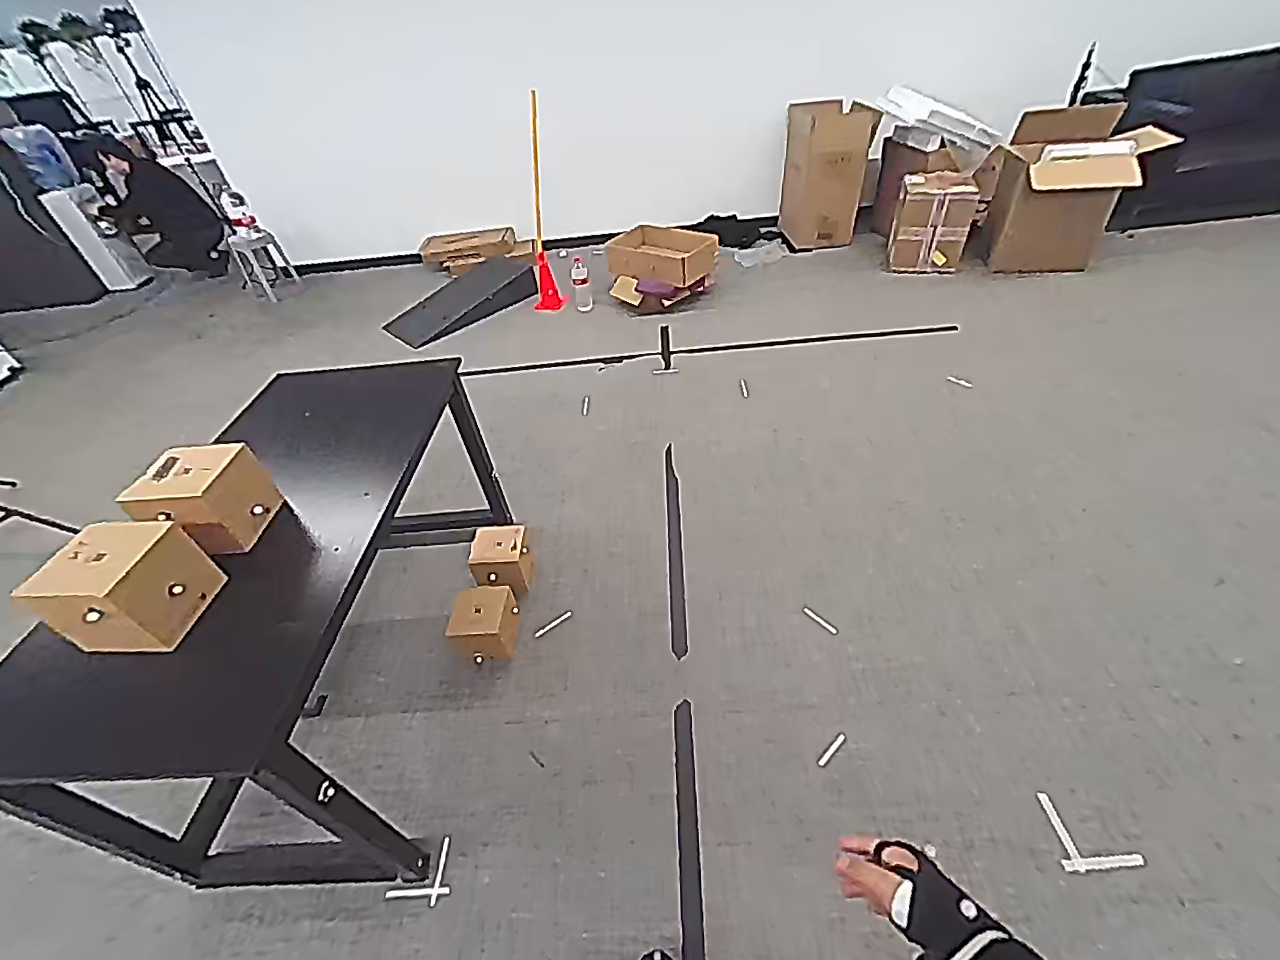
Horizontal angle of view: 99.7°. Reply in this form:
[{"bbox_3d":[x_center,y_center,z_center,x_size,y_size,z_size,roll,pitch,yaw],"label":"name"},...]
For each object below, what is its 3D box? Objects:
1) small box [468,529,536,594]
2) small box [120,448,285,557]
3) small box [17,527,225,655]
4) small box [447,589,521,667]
[{"bbox_3d":[-0.483,0.294,1.915,0.179,0.176,0.168,-5,42,4],"label":"small box"},{"bbox_3d":[-0.913,0.053,1.150,0.179,0.176,0.168,-4,42,3],"label":"small box"},{"bbox_3d":[-0.919,0.202,0.983,0.179,0.176,0.168,-2,41,6],"label":"small box"},{"bbox_3d":[-0.487,0.471,1.721,0.168,0.176,0.179,-5,42,4],"label":"small box"}]
